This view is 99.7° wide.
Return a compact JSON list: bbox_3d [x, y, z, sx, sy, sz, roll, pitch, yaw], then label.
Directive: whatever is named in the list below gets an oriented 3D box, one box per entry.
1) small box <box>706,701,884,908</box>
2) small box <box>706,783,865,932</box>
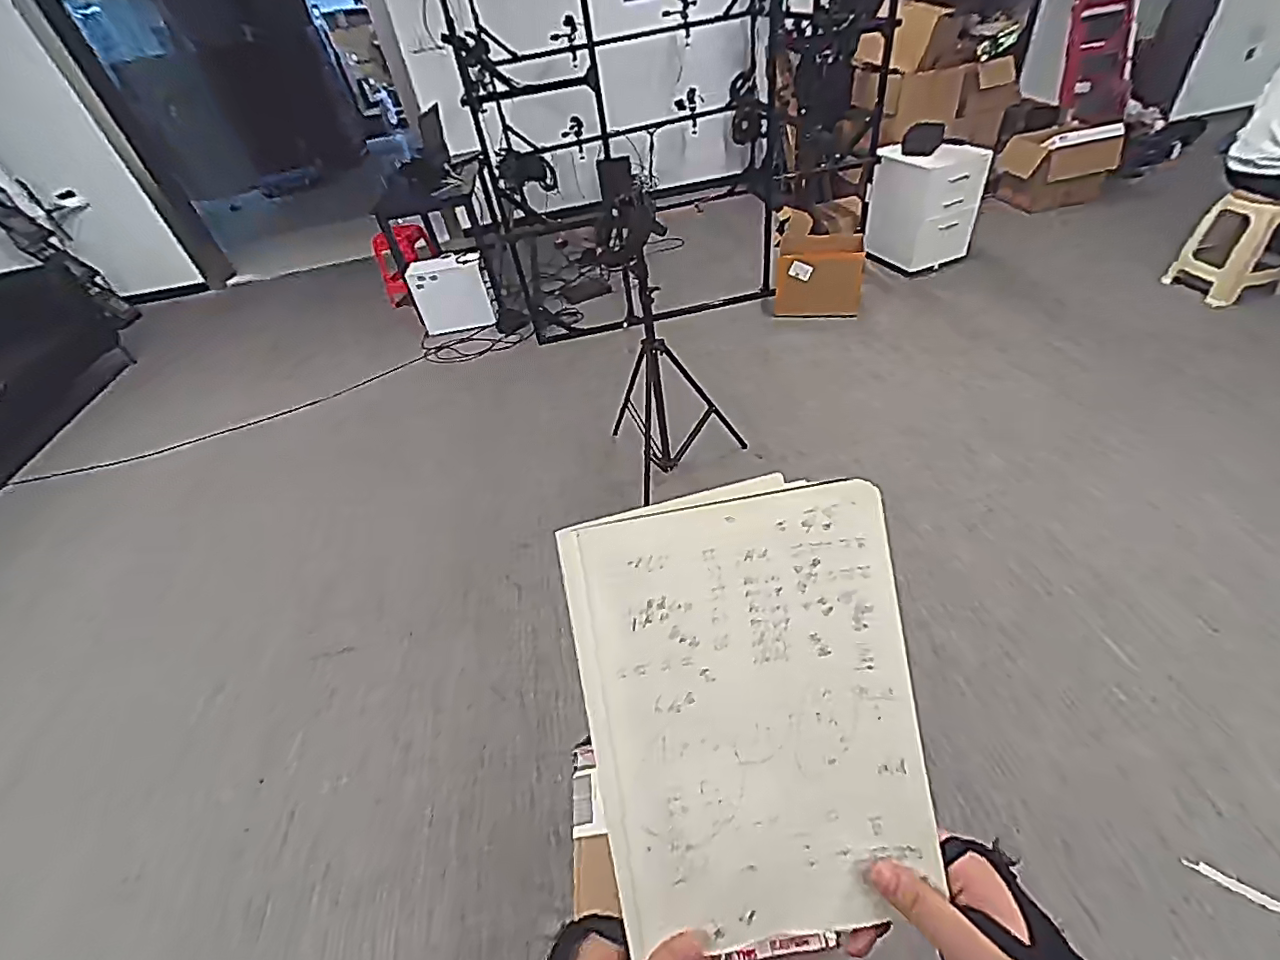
[{"bbox_3d":[0.184,0.422,0.706,0.168,0.176,0.179,-10,43,-3],"label":"small box"},{"bbox_3d":[0.203,0.546,0.811,0.179,0.176,0.168,-13,43,-4],"label":"small box"}]
